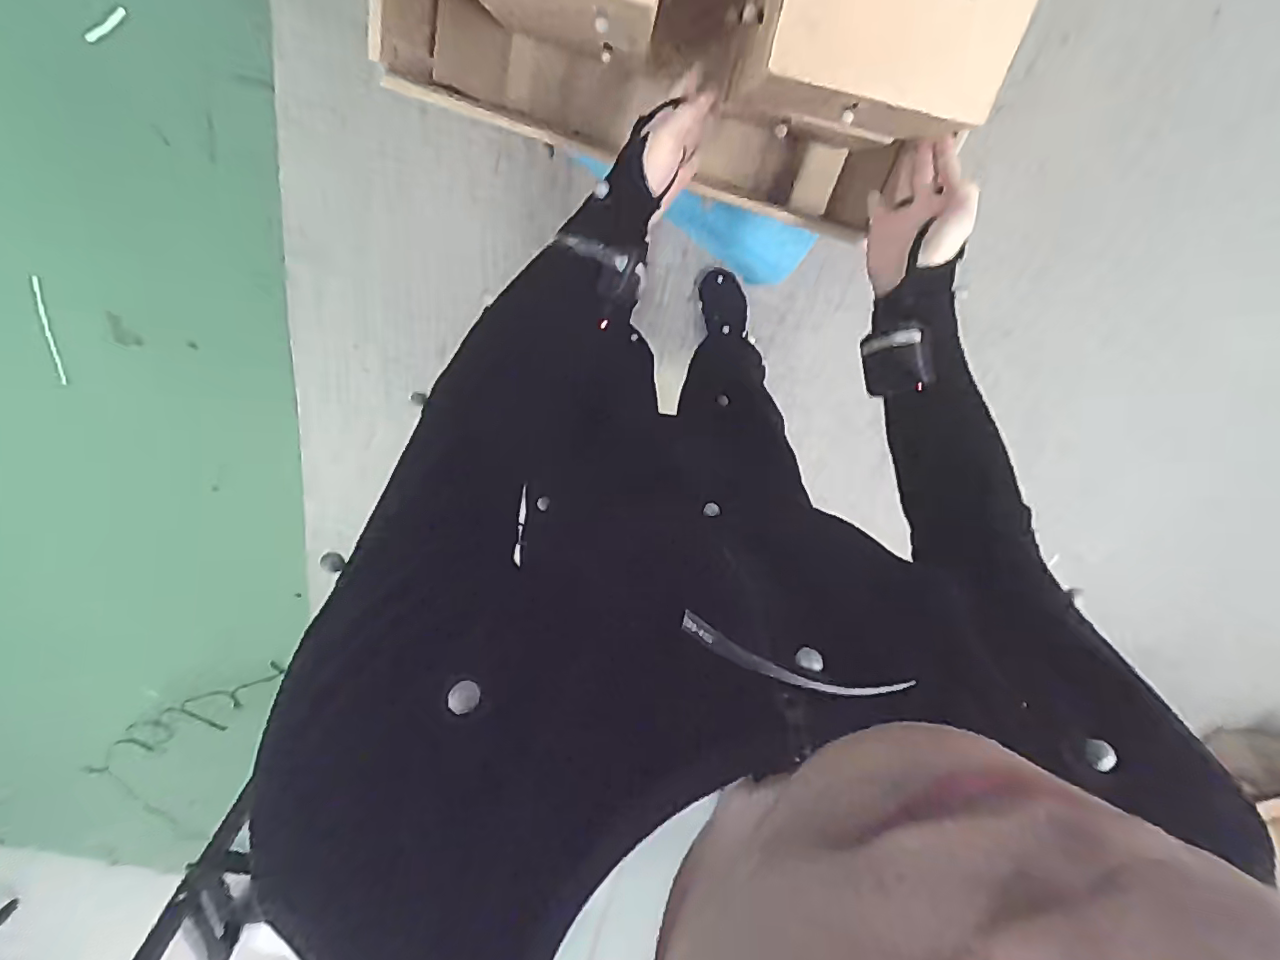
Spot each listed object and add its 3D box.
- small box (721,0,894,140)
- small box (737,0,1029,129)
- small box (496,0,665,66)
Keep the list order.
[{"bbox_3d":[0.193,-0.475,0.572,0.179,0.176,0.168,13,119,-5],"label":"small box"},{"bbox_3d":[0.188,-0.395,0.430,0.179,0.176,0.168,11,120,-5],"label":"small box"},{"bbox_3d":[-0.053,-0.546,0.540,0.179,0.176,0.168,13,119,-8],"label":"small box"}]
